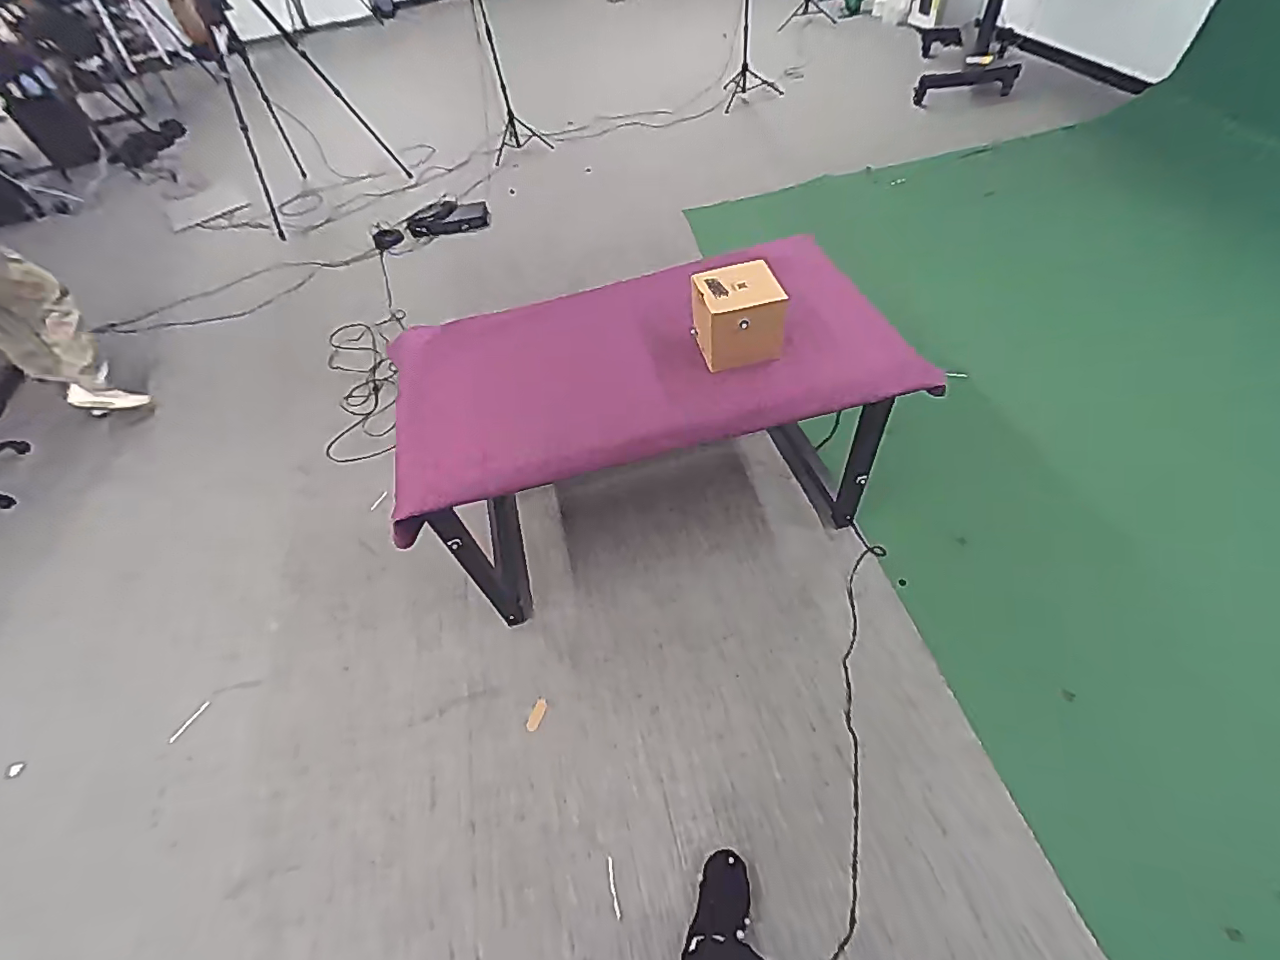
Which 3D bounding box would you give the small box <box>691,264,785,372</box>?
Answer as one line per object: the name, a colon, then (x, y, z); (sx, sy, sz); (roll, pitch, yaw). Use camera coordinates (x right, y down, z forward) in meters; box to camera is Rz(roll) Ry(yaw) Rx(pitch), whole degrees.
small box: (0.226, -0.377, 1.276); (0.179, 0.176, 0.168); (-13, 52, -2)
